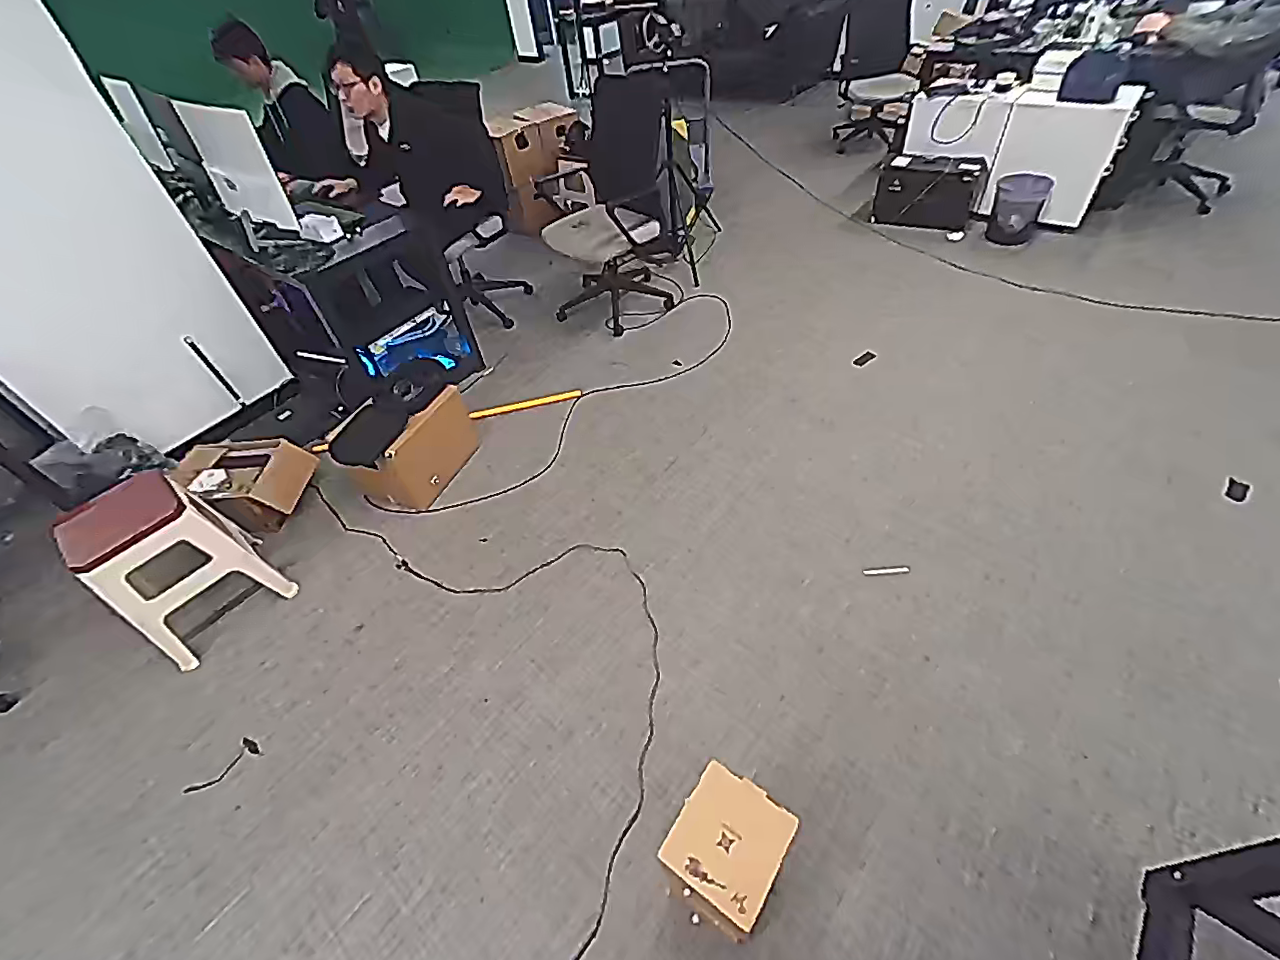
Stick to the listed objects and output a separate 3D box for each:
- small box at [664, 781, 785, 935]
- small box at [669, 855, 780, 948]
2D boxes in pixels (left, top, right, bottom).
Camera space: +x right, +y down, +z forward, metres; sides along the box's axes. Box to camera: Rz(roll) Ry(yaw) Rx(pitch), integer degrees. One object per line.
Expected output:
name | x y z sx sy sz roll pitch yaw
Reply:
small box | 0.164 0.730 1.041 0.168 0.176 0.179 22 52 25
small box | 0.178 0.845 1.153 0.168 0.176 0.179 25 55 28
